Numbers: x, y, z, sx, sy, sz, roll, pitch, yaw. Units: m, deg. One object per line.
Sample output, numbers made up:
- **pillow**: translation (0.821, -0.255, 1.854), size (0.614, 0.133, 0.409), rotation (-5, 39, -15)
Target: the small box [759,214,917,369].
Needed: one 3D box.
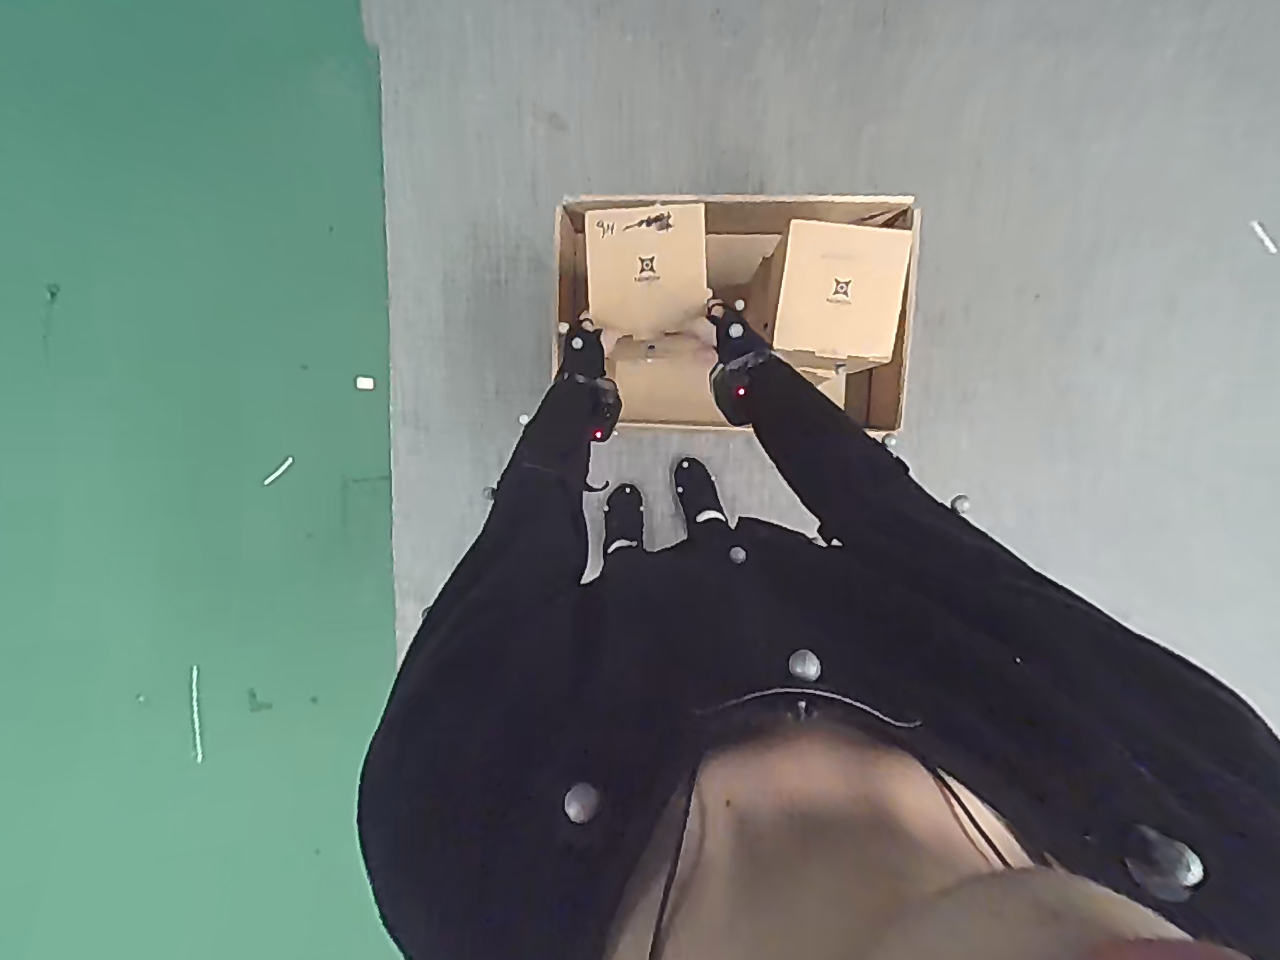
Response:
- **small box**: translation (0.278, -0.266, 0.802), size (0.168, 0.176, 0.179), rotation (8, 96, 2)

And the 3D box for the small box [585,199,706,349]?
- **small box**: translation (0.013, -0.294, 0.810), size (0.168, 0.176, 0.179), rotation (-2, 95, 3)
